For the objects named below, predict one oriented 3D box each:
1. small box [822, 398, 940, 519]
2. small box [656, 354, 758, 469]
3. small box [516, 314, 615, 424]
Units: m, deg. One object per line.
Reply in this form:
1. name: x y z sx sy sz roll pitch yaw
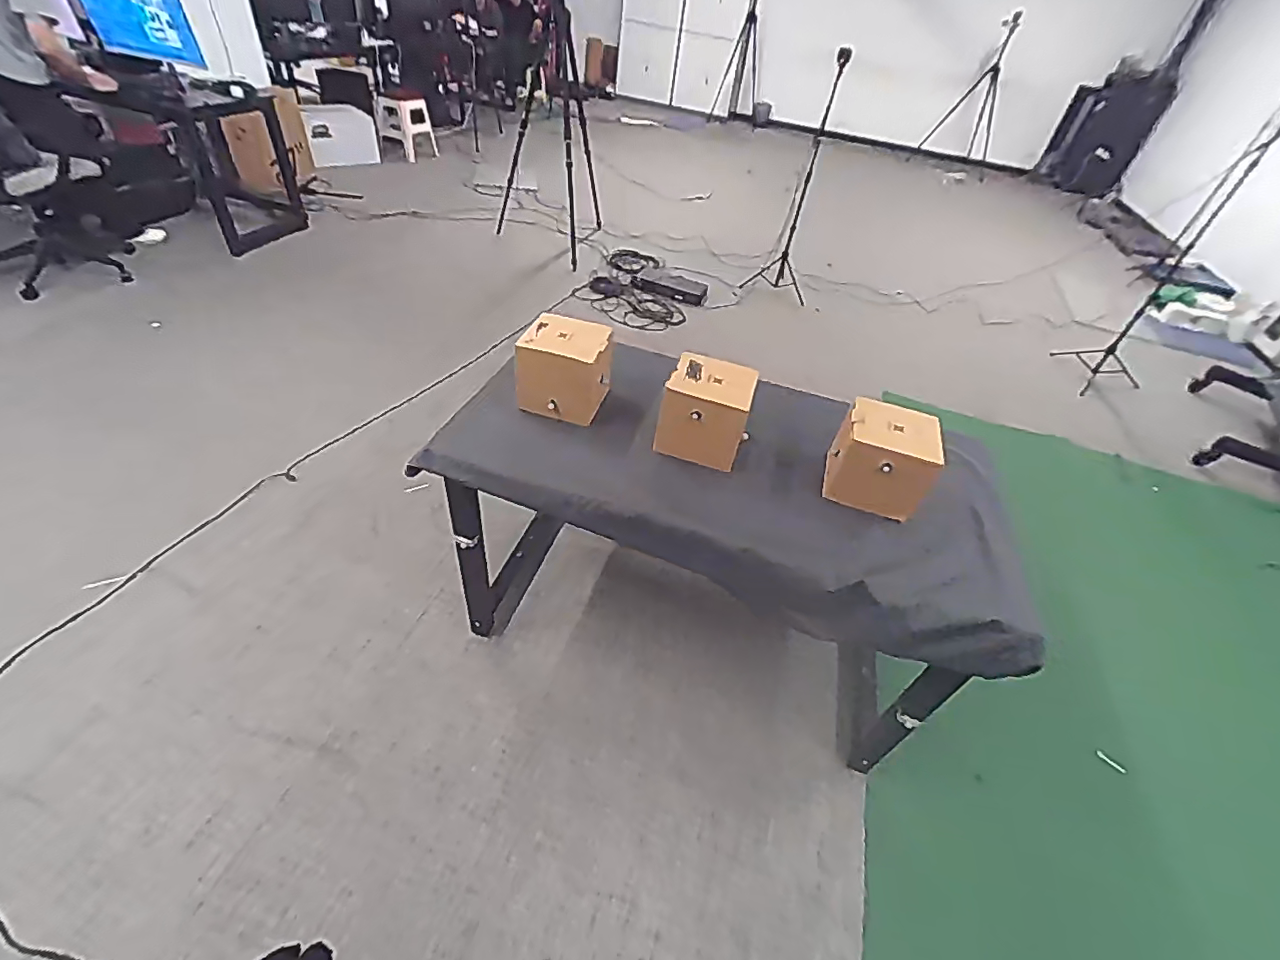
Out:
1. small box: 0.500 -0.042 1.142 0.179 0.176 0.168 18 45 8
2. small box: 0.143 -0.148 1.189 0.179 0.176 0.168 17 43 7
3. small box: -0.170 -0.251 1.243 0.179 0.176 0.168 15 43 5
